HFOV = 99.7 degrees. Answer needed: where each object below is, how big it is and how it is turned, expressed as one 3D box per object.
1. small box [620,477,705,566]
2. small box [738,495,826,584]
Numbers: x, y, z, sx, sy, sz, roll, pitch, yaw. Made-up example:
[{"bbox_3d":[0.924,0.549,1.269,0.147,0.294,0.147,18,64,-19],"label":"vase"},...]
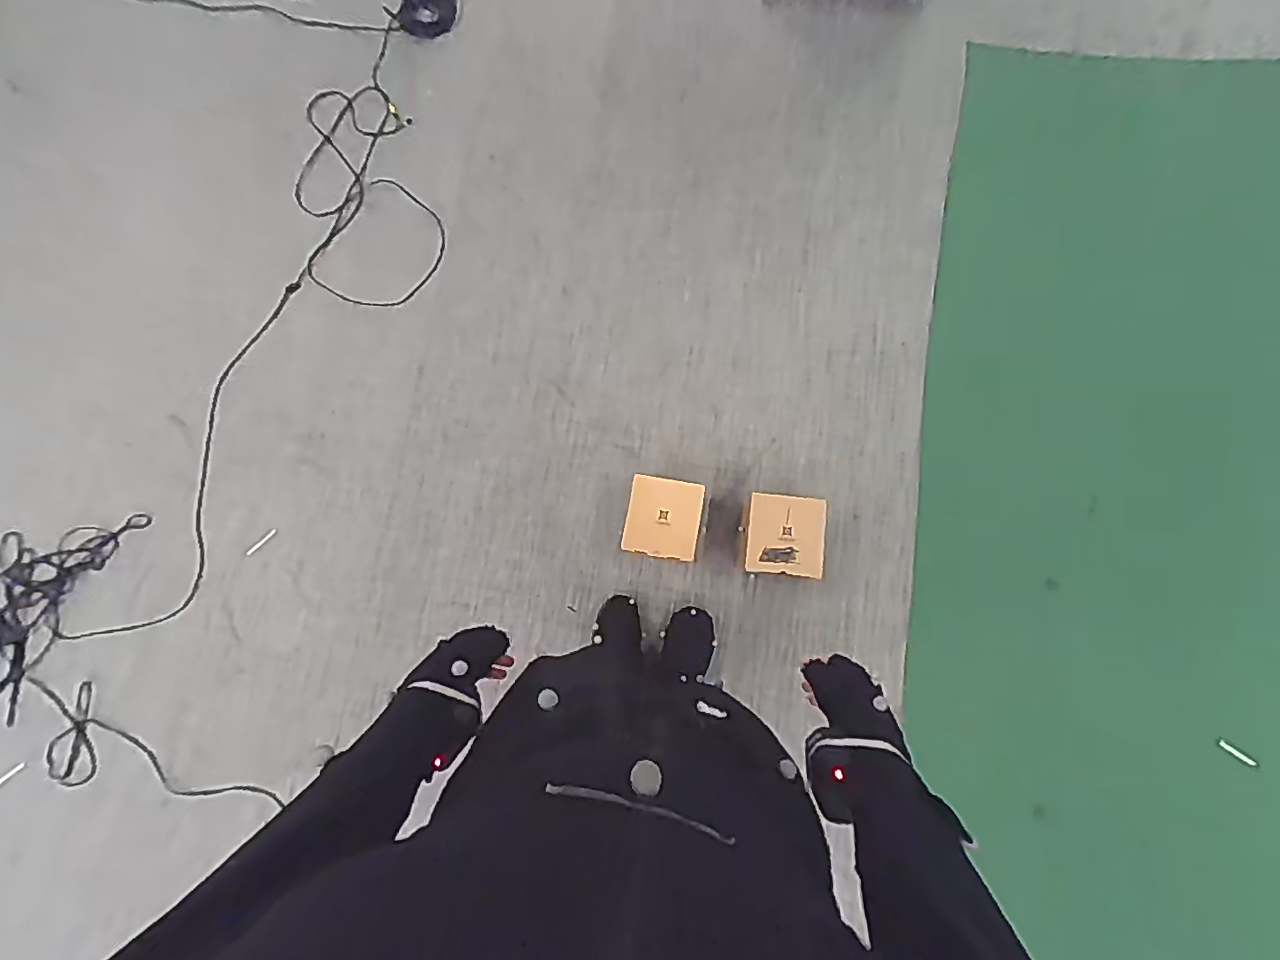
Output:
[{"bbox_3d":[0.056,0.103,1.278,0.168,0.176,0.179,9,81,6],"label":"small box"},{"bbox_3d":[0.321,0.141,1.248,0.168,0.176,0.179,6,80,6],"label":"small box"}]
